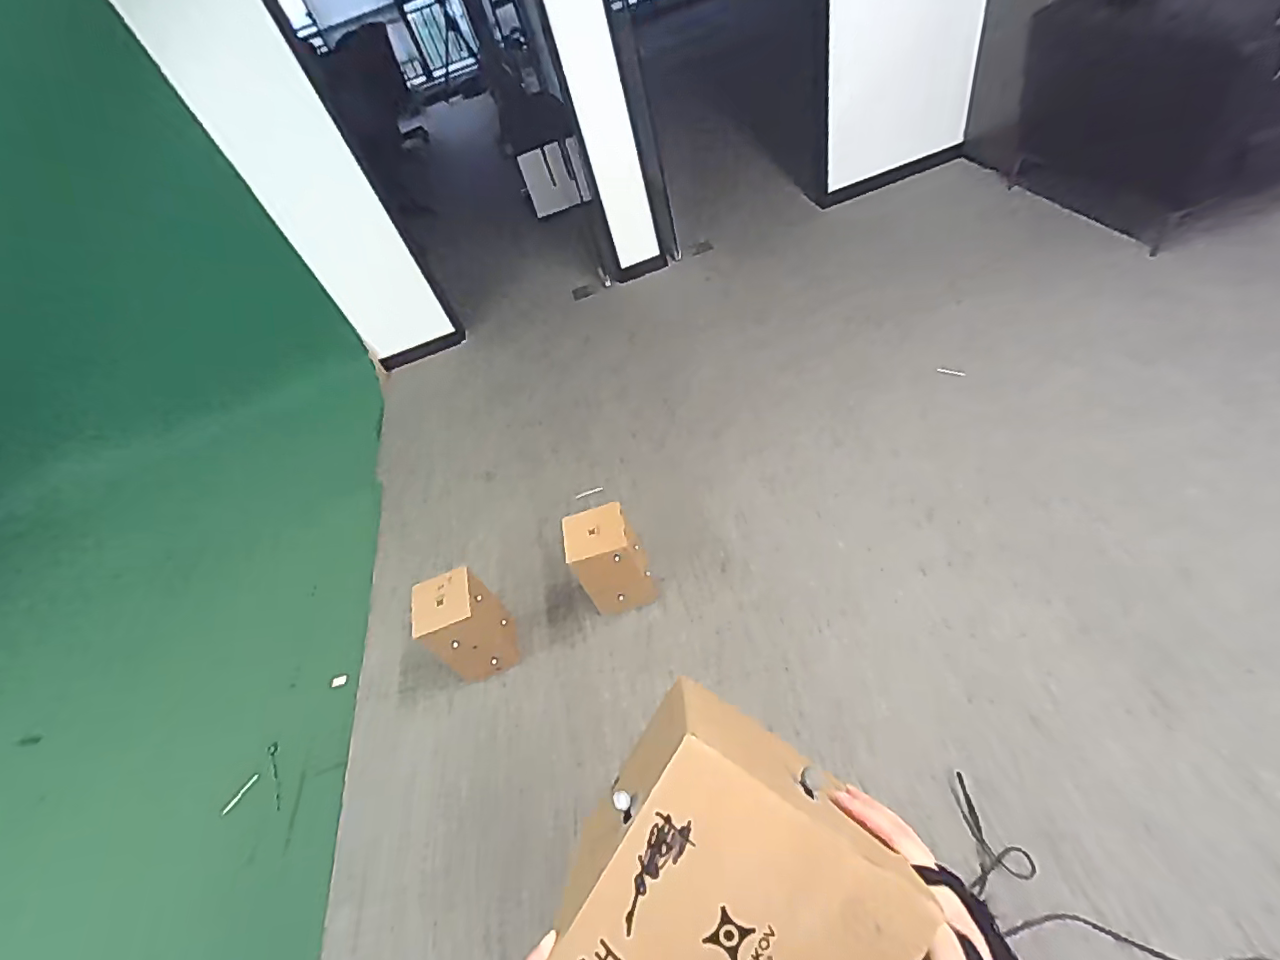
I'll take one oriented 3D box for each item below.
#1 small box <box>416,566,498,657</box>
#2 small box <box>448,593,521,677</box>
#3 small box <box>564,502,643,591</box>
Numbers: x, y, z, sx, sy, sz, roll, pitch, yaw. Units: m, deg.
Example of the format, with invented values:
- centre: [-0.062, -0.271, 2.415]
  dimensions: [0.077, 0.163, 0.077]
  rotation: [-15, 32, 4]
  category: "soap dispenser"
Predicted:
- centre: [-0.519, 0.383, 1.543]
  dimensions: [0.168, 0.176, 0.179]
  rotation: [-21, 47, -1]
  category: "small box"
- centre: [-0.477, 0.485, 1.665]
  dimensions: [0.168, 0.176, 0.179]
  rotation: [-21, 46, 0]
  category: "small box"
- centre: [-0.106, 0.198, 1.564]
  dimensions: [0.179, 0.176, 0.168]
  rotation: [-17, 46, 4]
  category: "small box"
